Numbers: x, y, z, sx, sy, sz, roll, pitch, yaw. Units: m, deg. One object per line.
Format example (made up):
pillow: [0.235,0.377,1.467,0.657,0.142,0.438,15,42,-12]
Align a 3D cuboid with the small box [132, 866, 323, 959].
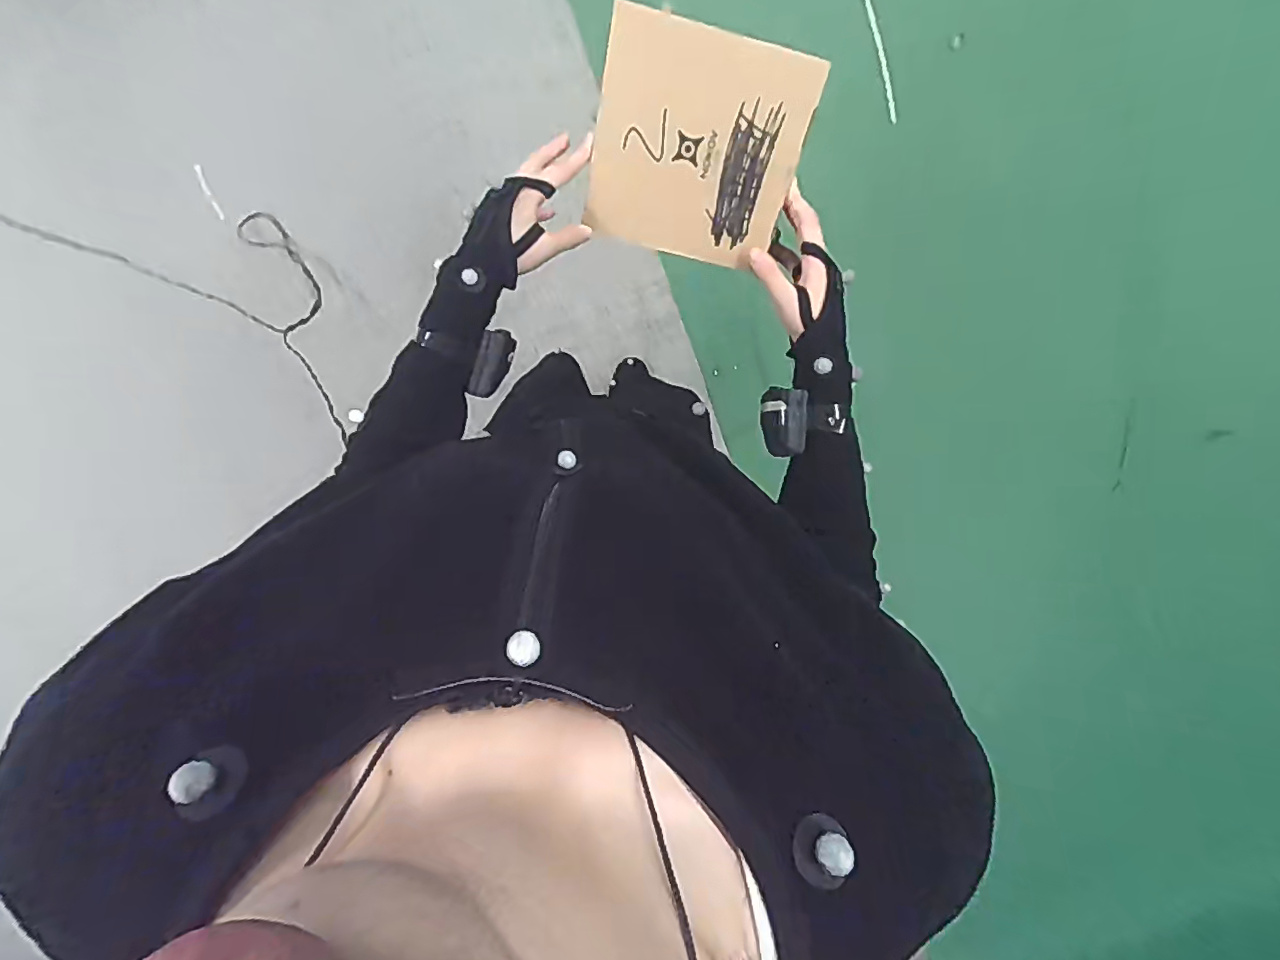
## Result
small box: [-0.635,0.740,0.825,0.179,0.176,0.168,-16,102,4]

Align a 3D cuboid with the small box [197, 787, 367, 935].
small box: [-0.630,0.696,0.983,0.179,0.176,0.168,-15,101,5]

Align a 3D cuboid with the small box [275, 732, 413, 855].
small box: [-0.613,0.661,1.142,0.168,0.176,0.179,-14,101,4]
